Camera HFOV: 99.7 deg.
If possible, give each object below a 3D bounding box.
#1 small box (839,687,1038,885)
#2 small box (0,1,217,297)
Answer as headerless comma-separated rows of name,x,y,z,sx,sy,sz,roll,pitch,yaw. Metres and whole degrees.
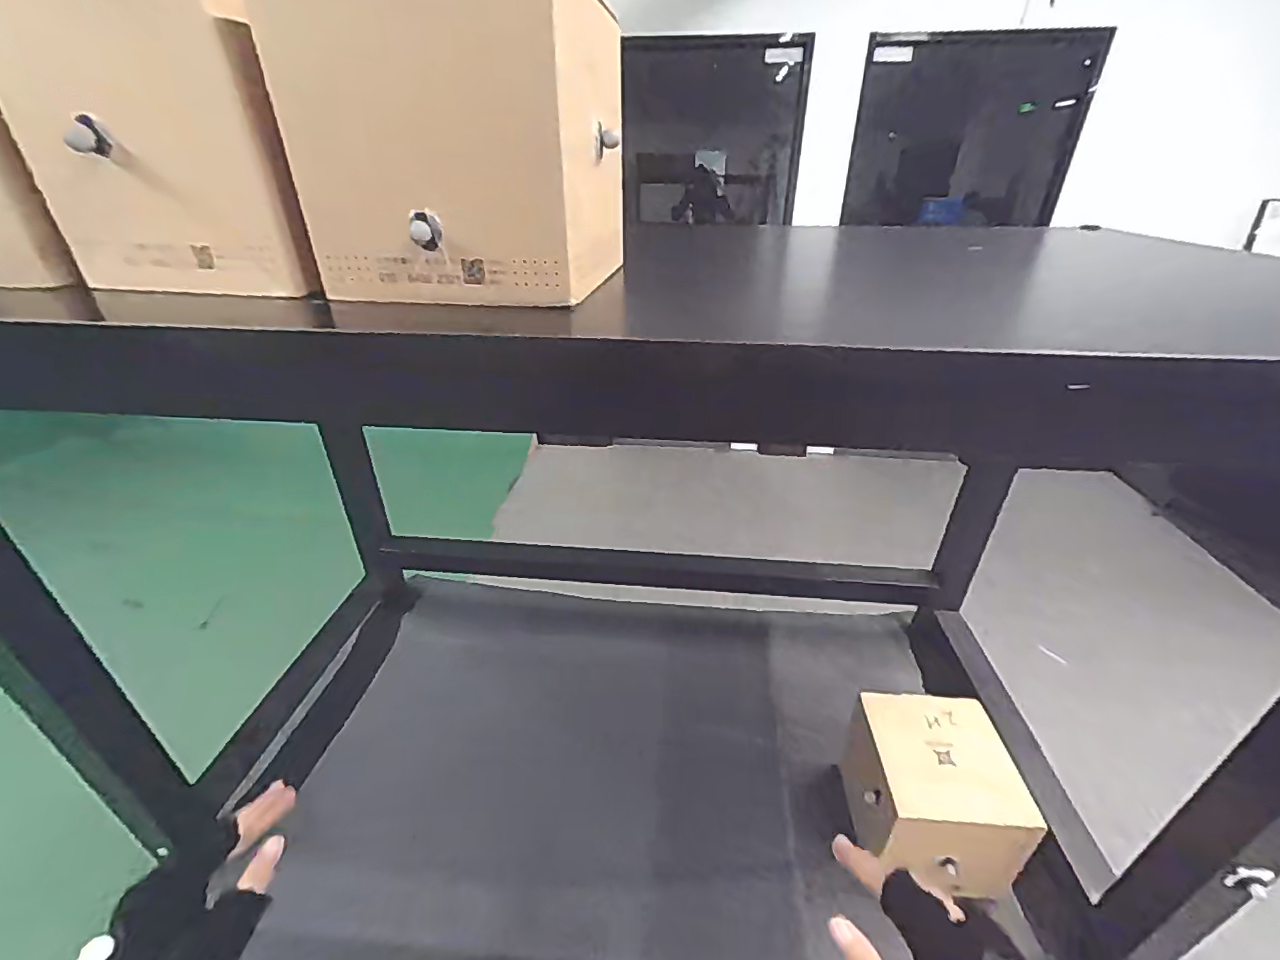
small box,0.383,0.412,0.733,0.168,0.176,0.179,2,30,4
small box,-0.475,-0.248,0.414,0.168,0.176,0.179,3,32,4
